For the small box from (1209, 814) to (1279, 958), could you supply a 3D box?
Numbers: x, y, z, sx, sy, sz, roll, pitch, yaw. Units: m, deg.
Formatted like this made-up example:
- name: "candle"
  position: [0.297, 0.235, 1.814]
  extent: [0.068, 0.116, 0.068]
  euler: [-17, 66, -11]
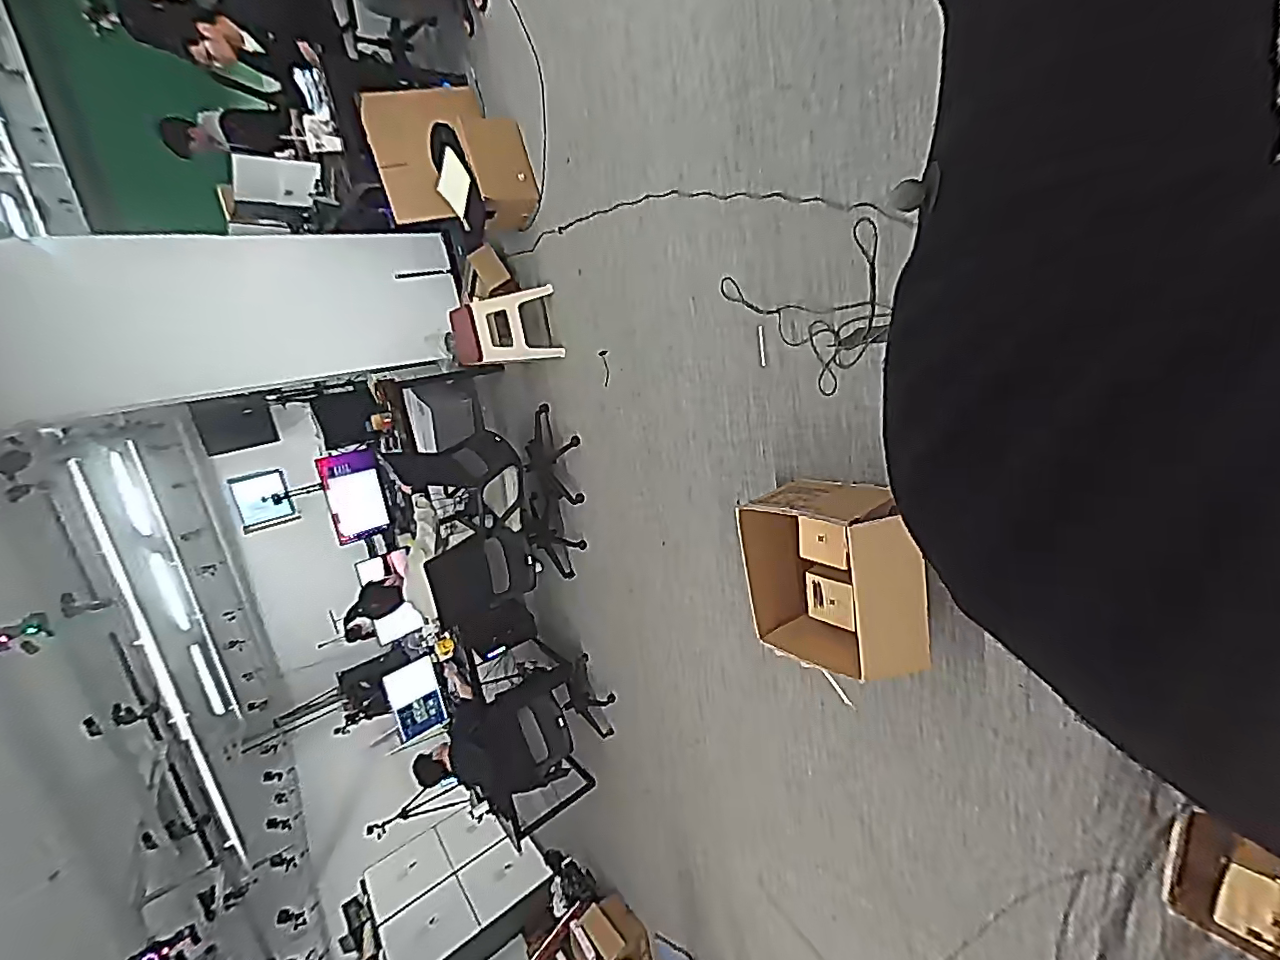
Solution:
- name: "small box"
  position: [1.292, 0.827, 1.088]
  extent: [0.168, 0.176, 0.179]
  euler: [16, 116, 50]
